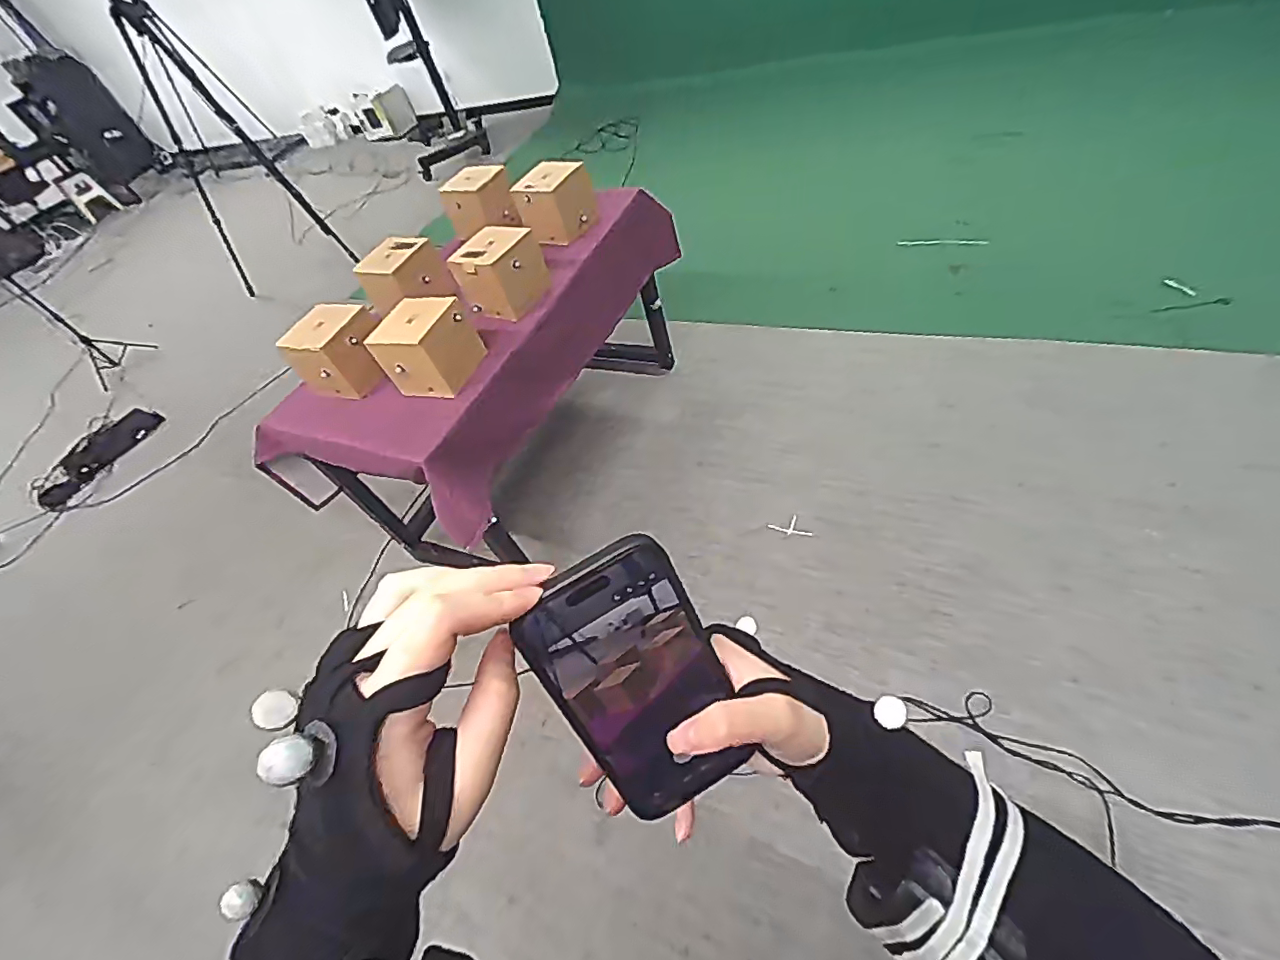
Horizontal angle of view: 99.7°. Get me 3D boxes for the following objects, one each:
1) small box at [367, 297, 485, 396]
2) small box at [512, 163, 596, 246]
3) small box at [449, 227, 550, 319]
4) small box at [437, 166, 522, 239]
[{"bbox_3d":[-0.507,-0.320,1.309,0.168,0.176,0.179,6,53,22],"label":"small box"},{"bbox_3d":[-0.255,-0.848,1.661,0.168,0.176,0.179,18,59,29],"label":"small box"},{"bbox_3d":[-0.370,-0.558,1.460,0.168,0.176,0.179,17,58,28],"label":"small box"},{"bbox_3d":[-0.527,-0.919,1.799,0.179,0.176,0.168,15,59,26],"label":"small box"}]
